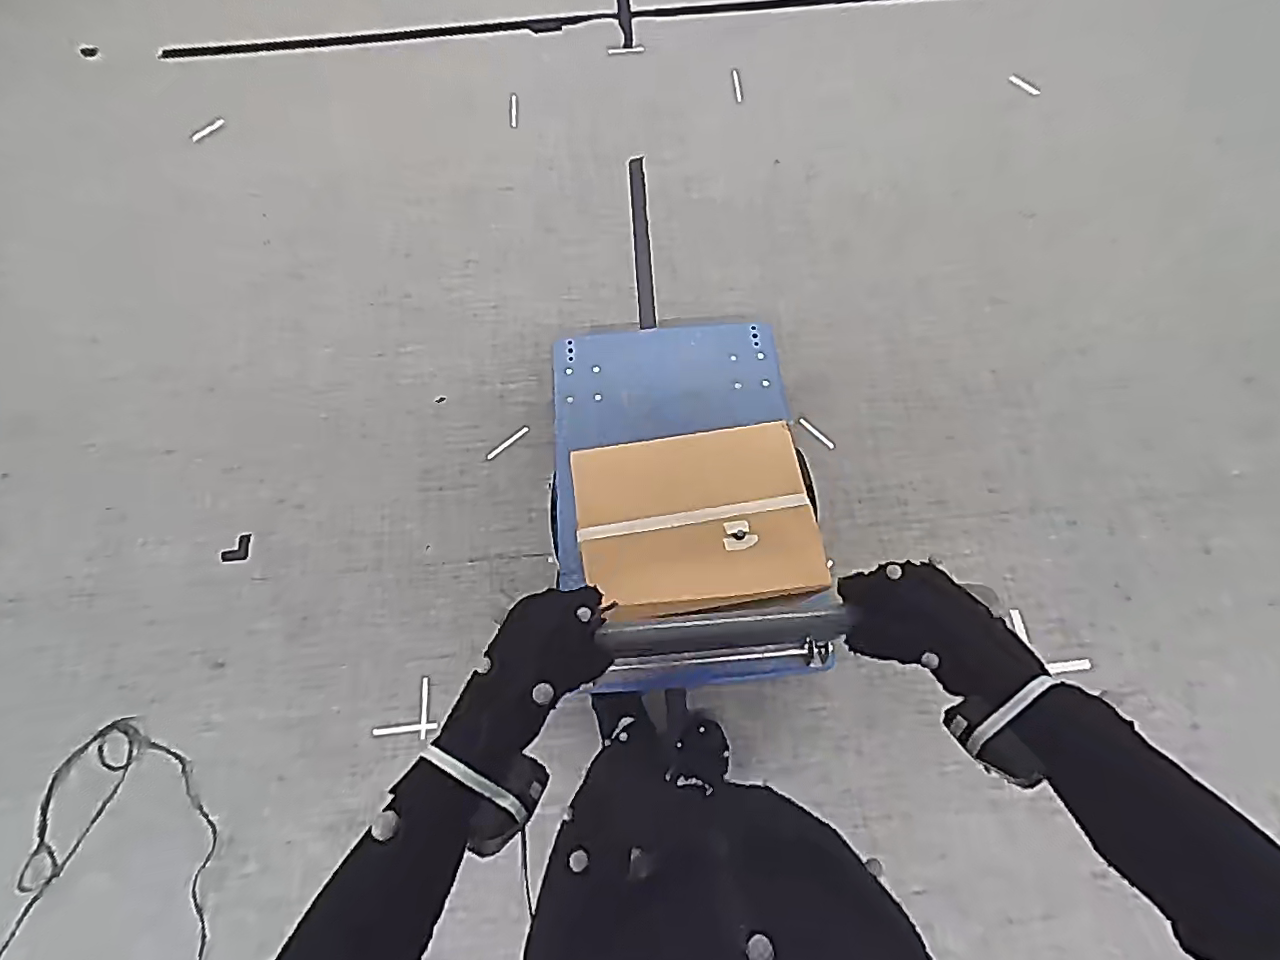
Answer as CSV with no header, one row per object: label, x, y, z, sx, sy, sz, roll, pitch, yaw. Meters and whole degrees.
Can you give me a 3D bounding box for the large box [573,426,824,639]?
large box,0.094,0.122,1.098,0.408,0.320,0.320,-9,71,-3
